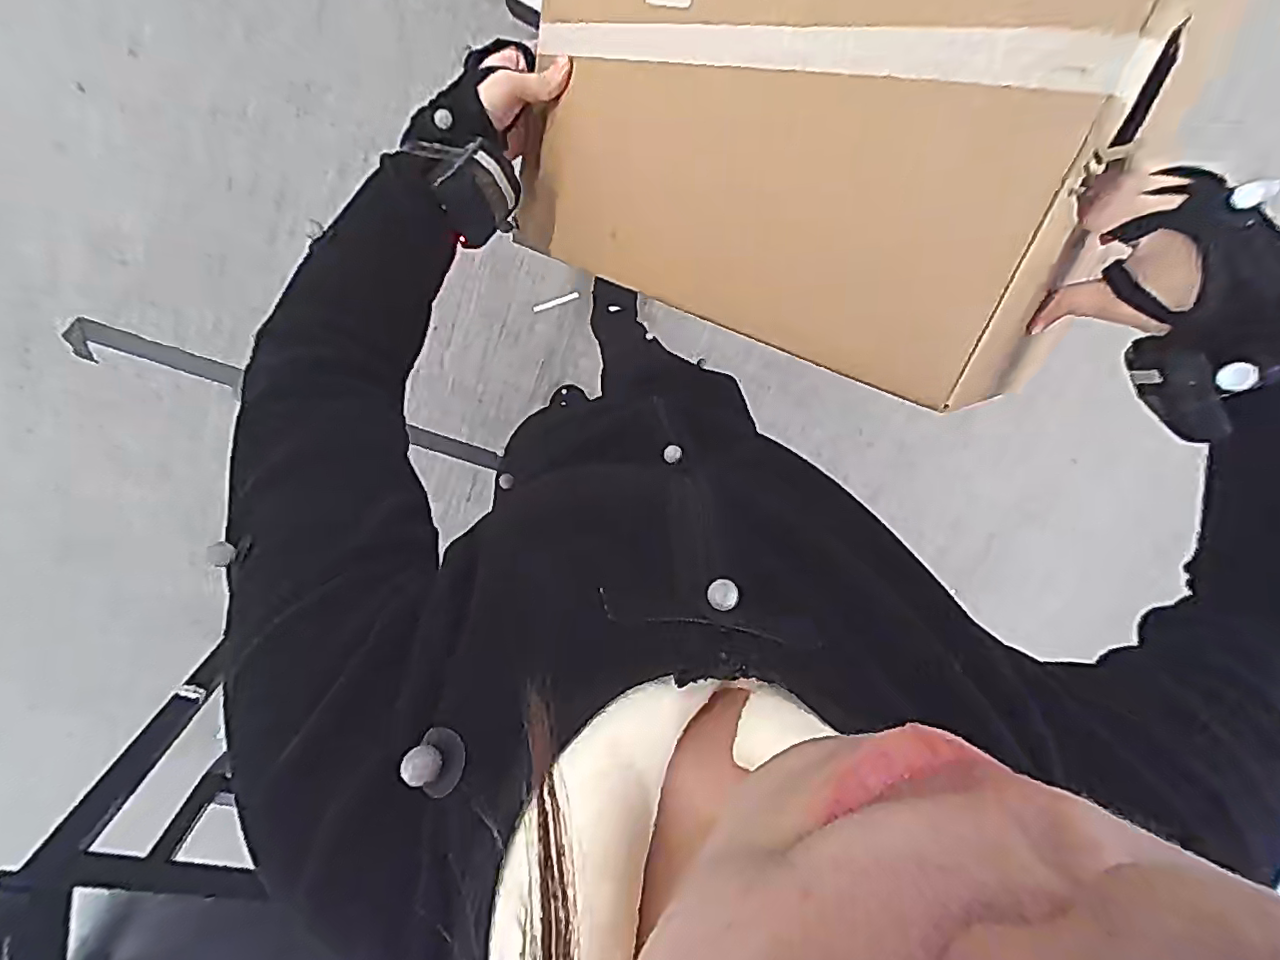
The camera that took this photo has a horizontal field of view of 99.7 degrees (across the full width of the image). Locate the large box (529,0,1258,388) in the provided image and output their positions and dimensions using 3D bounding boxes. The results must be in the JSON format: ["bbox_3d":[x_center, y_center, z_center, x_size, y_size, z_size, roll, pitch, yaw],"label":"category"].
[{"bbox_3d":[0.172,-0.292,0.436,0.320,0.408,0.320,-13,128,-47],"label":"large box"}]
